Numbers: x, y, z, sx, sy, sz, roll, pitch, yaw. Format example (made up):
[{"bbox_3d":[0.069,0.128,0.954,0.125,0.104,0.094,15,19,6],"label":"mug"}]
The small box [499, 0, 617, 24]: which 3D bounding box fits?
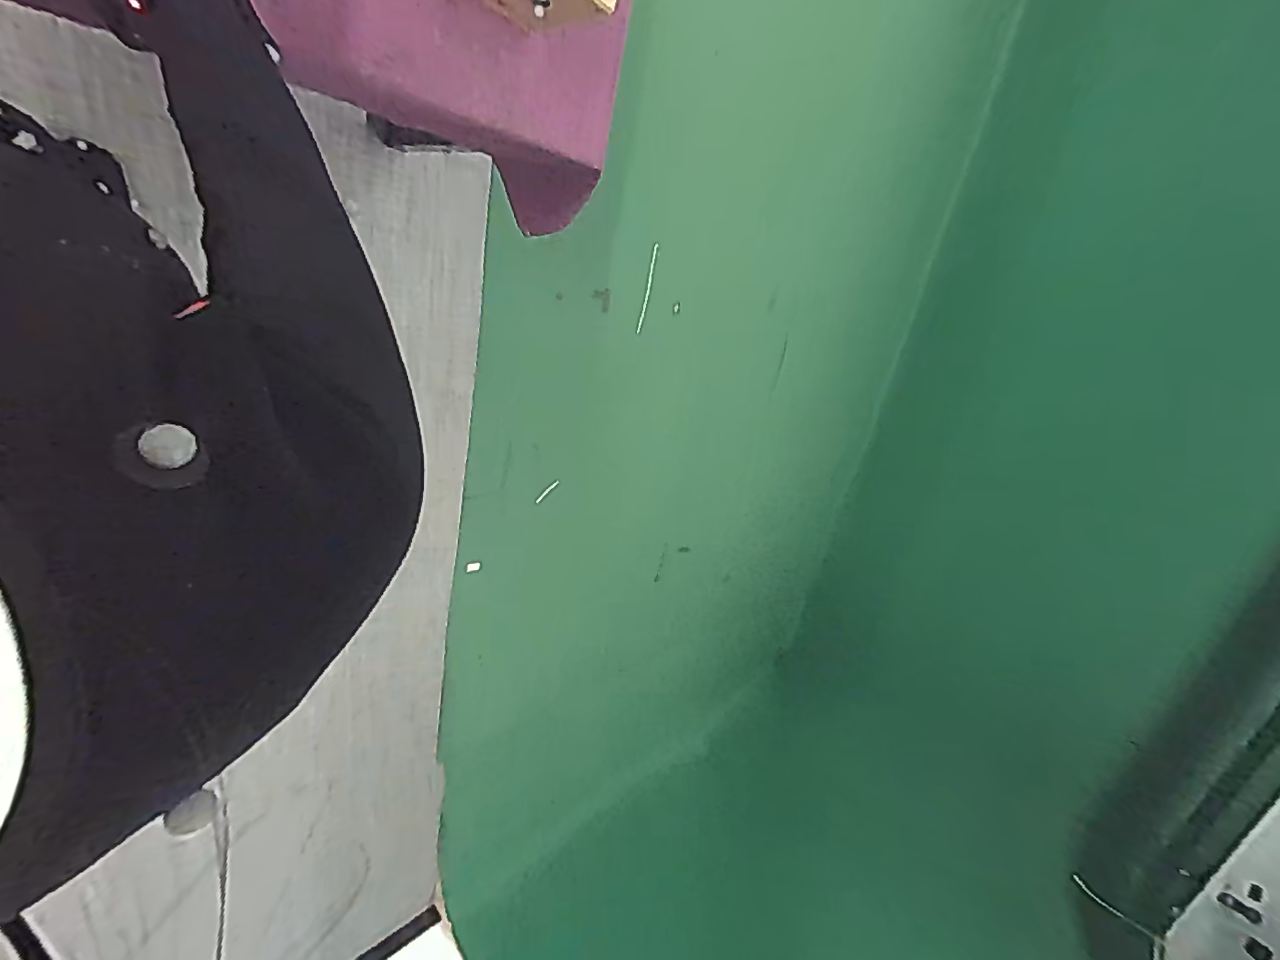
[{"bbox_3d":[-0.113,-0.623,0.561,0.168,0.176,0.179,0,113,-47],"label":"small box"}]
